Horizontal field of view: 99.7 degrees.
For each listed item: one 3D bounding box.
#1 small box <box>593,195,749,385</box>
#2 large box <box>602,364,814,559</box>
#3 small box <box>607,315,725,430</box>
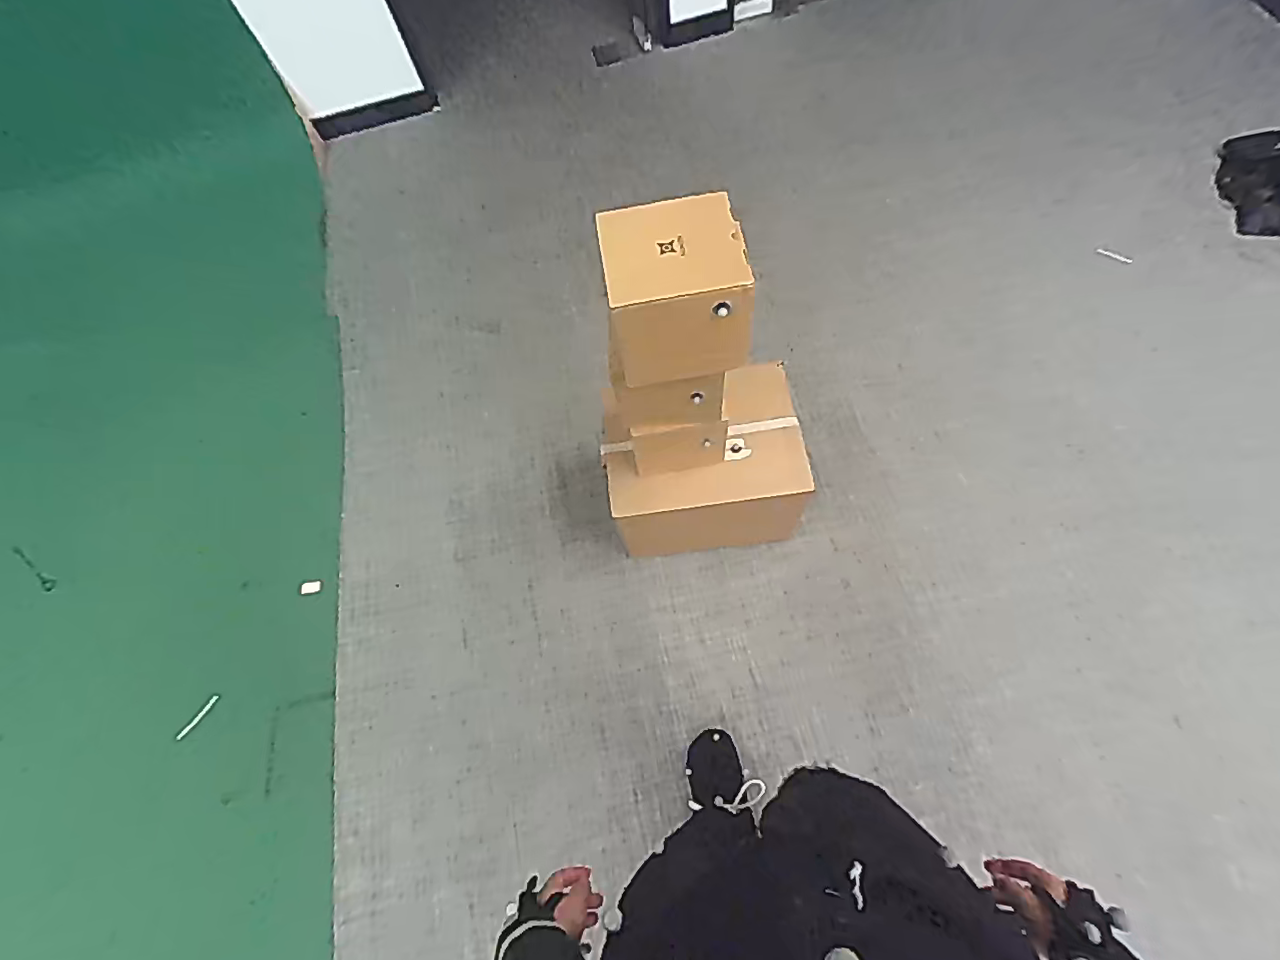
[{"bbox_3d":[0.042,-0.251,0.742,0.179,0.176,0.168,-10,64,1],"label":"small box"},{"bbox_3d":[0.142,-0.027,1.258,0.408,0.320,0.320,-8,67,2],"label":"large box"},{"bbox_3d":[0.044,-0.197,0.898,0.179,0.176,0.168,-5,65,5],"label":"small box"}]
